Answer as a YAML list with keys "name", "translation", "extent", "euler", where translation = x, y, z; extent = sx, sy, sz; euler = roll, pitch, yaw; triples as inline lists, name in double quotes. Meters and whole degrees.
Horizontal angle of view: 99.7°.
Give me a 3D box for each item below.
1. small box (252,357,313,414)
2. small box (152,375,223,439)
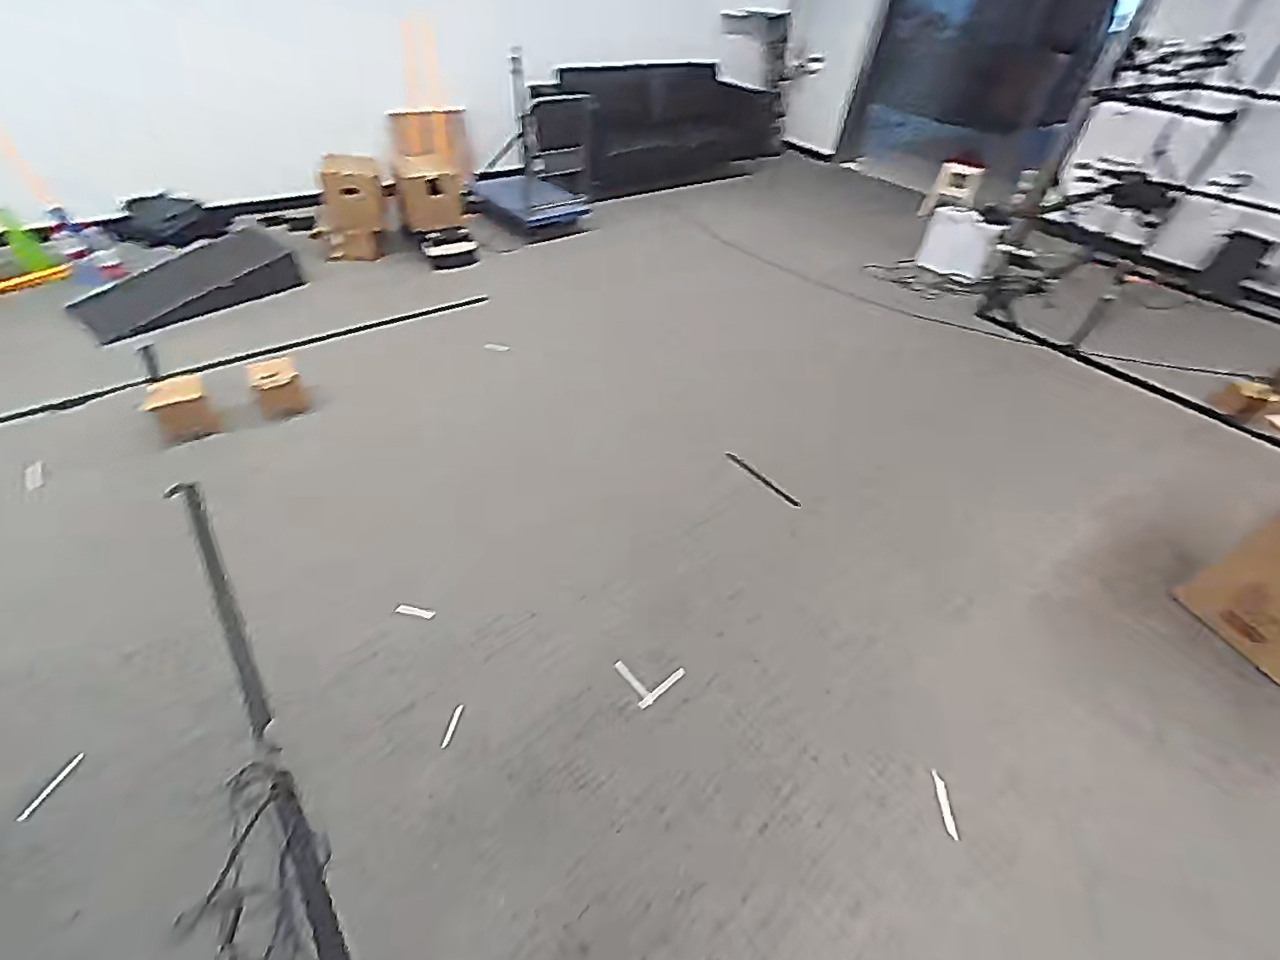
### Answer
- name: "small box"
  translation: [-1.517, -0.396, 2.302]
  extent: [0.168, 0.176, 0.179]
  euler: [-20, 49, -26]
- name: "small box"
  translation: [-1.793, -0.289, 2.152]
  extent: [0.179, 0.176, 0.168]
  euler: [-21, 50, -27]
